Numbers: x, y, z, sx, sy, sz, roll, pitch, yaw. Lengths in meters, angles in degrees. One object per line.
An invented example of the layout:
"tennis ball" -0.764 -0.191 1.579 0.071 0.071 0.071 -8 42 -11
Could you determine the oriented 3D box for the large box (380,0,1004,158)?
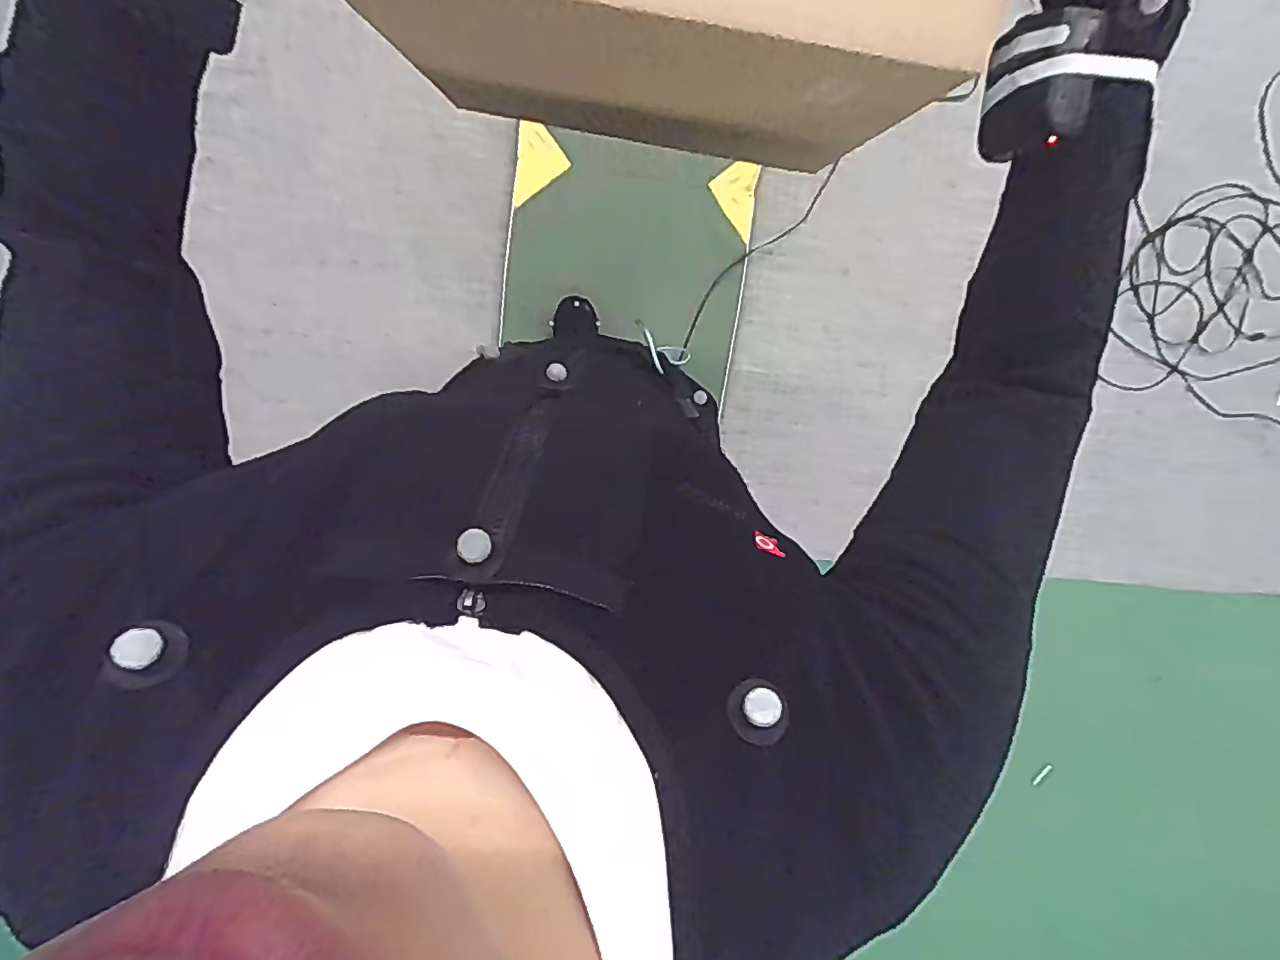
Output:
"large box" 0.028 -0.471 0.399 0.408 0.320 0.320 8 111 -5
